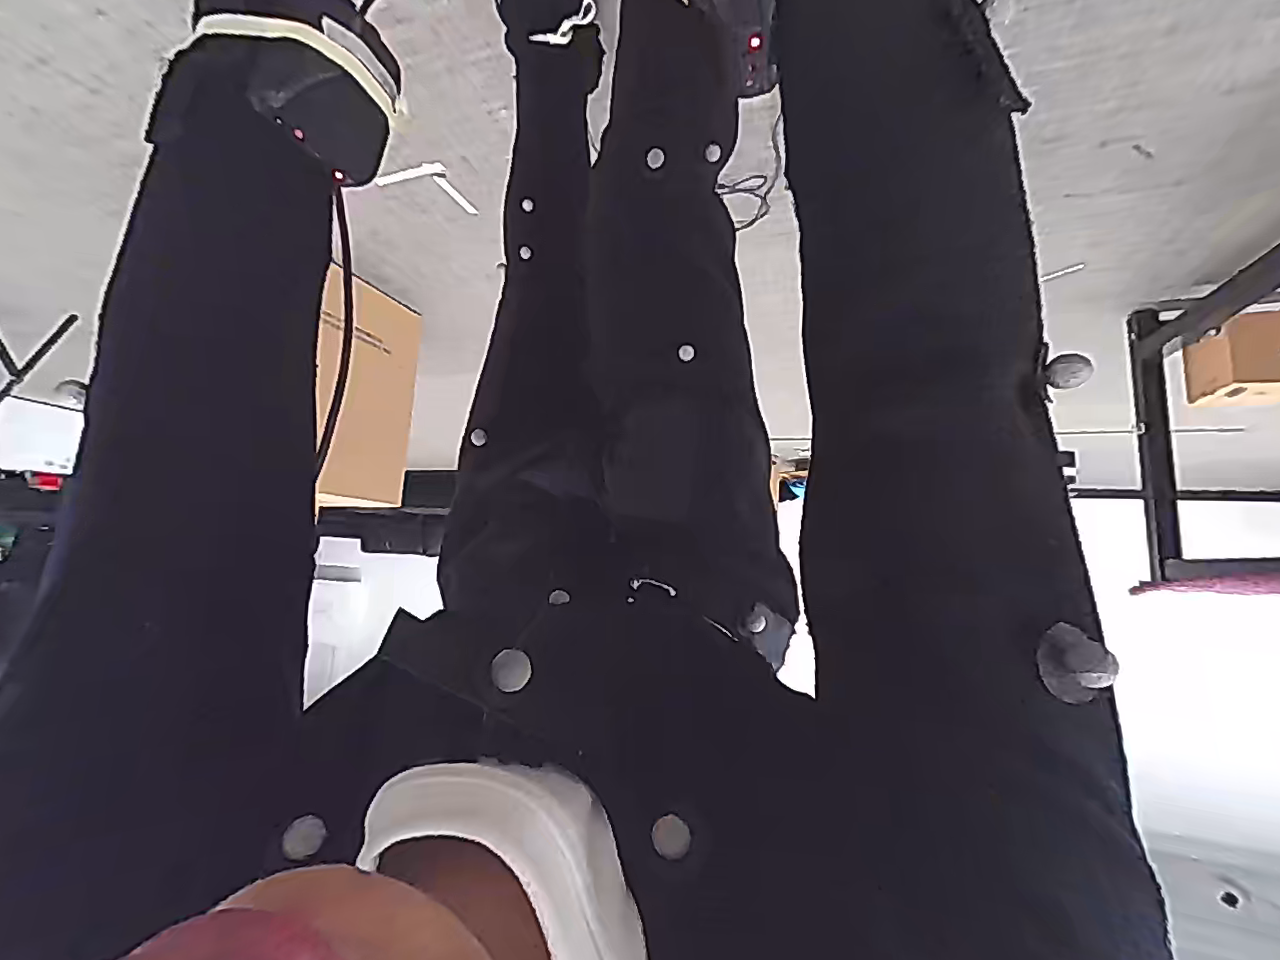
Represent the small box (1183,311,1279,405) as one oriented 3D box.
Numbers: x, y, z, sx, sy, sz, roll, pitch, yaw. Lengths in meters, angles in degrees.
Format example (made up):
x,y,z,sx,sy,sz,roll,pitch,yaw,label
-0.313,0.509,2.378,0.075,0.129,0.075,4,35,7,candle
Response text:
x,y,z,sx,sy,sz,roll,pitch,yaw,label
1.416,-0.281,1.252,0.179,0.176,0.168,0,170,18,small box
